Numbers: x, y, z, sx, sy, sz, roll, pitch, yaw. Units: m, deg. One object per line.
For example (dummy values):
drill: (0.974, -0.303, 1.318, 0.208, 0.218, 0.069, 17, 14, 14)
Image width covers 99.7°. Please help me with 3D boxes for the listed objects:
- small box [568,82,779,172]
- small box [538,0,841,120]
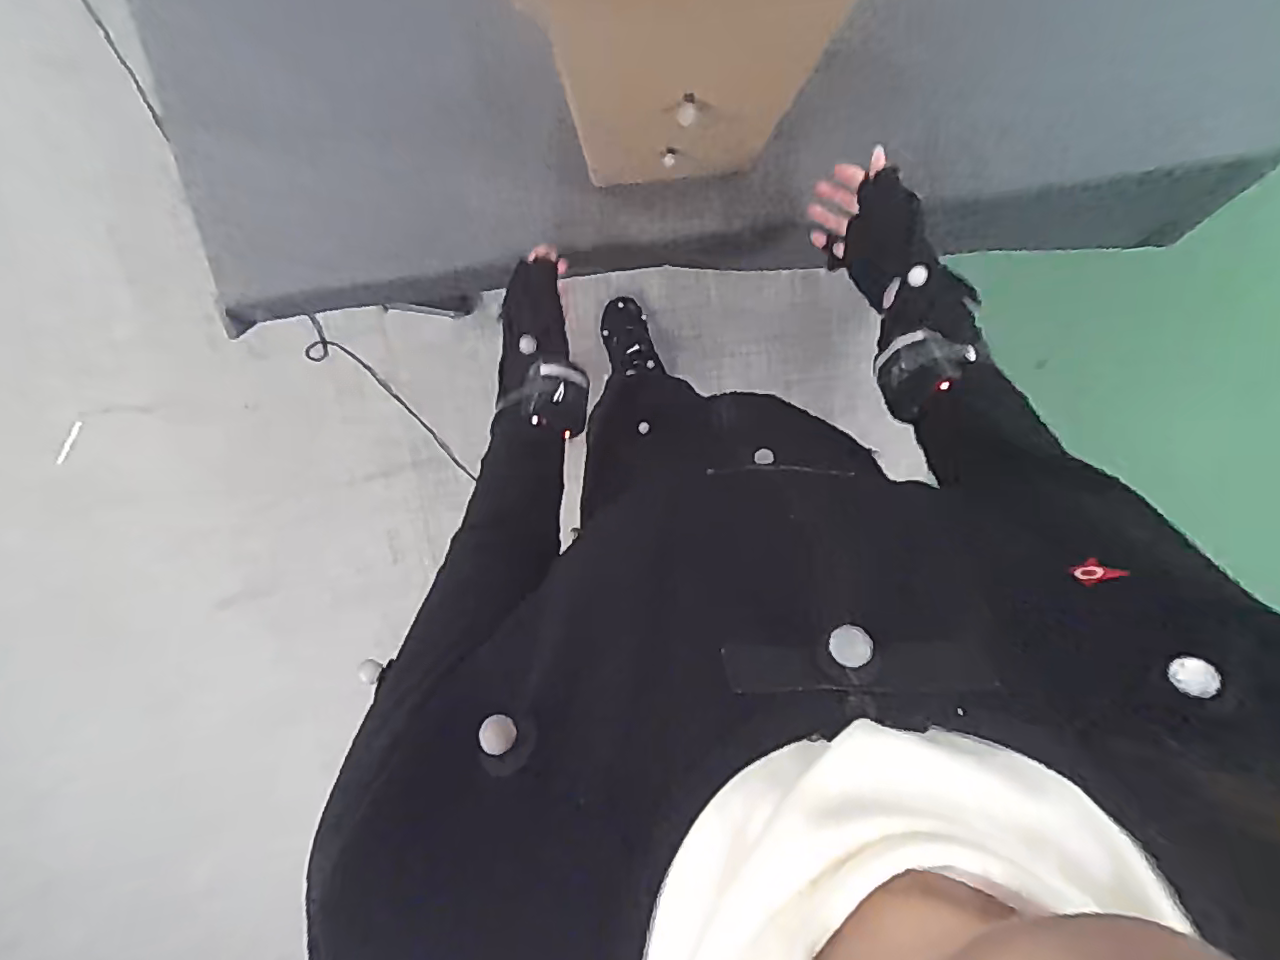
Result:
small box: (0.023, -0.404, 0.502, 0.179, 0.176, 0.168, -3, 102, 1)
small box: (0.023, -0.360, 0.348, 0.179, 0.176, 0.168, -5, 103, 1)
